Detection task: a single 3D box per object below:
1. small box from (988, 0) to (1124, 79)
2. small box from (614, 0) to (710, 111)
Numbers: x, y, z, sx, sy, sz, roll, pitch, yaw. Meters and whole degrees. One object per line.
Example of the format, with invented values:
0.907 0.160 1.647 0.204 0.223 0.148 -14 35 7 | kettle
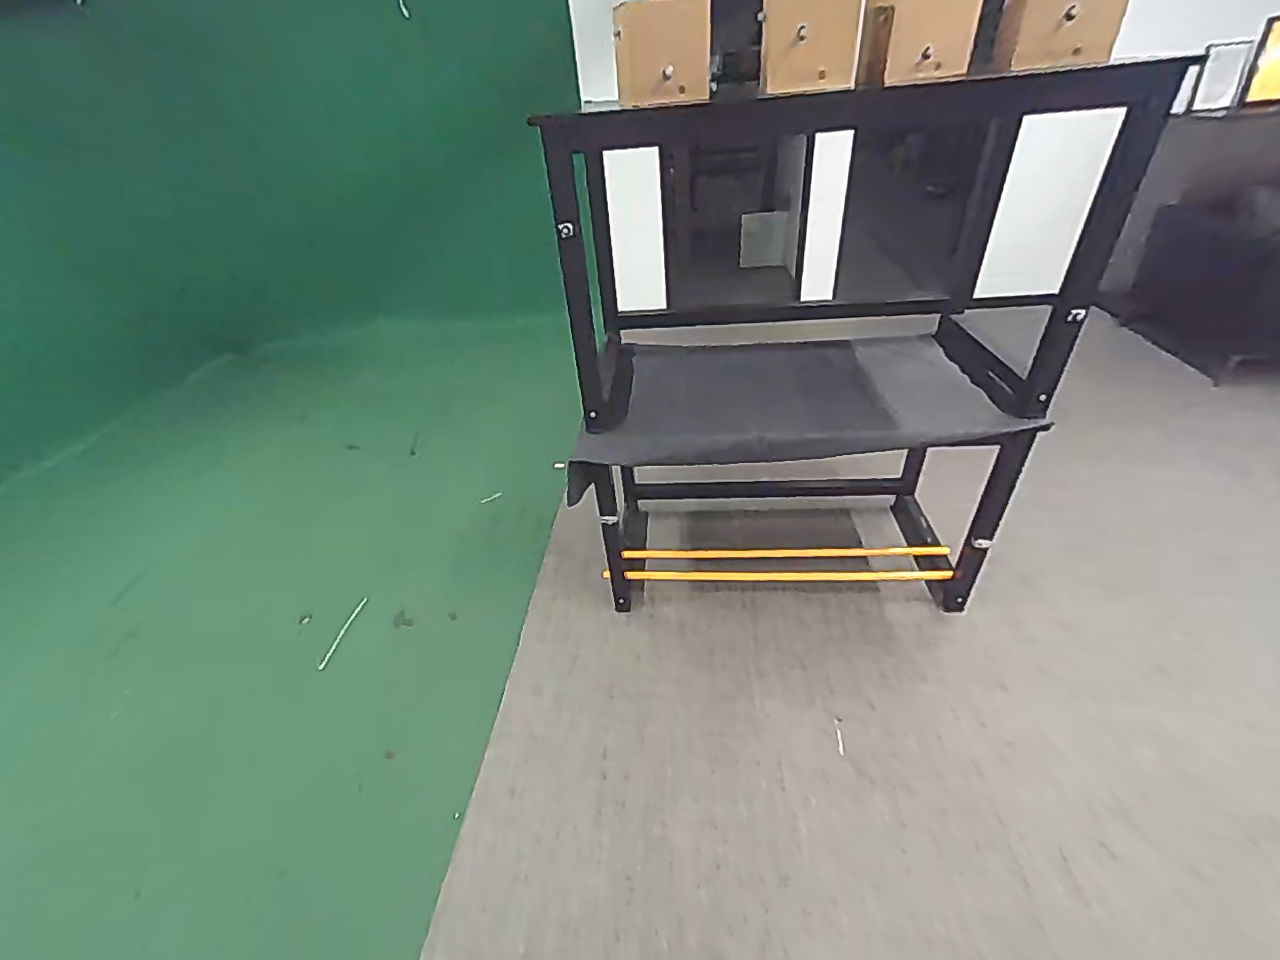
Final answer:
0.804 -0.889 1.045 0.168 0.176 0.179 6 38 15 | small box
0.043 -0.884 1.136 0.168 0.176 0.179 -10 38 -7 | small box
